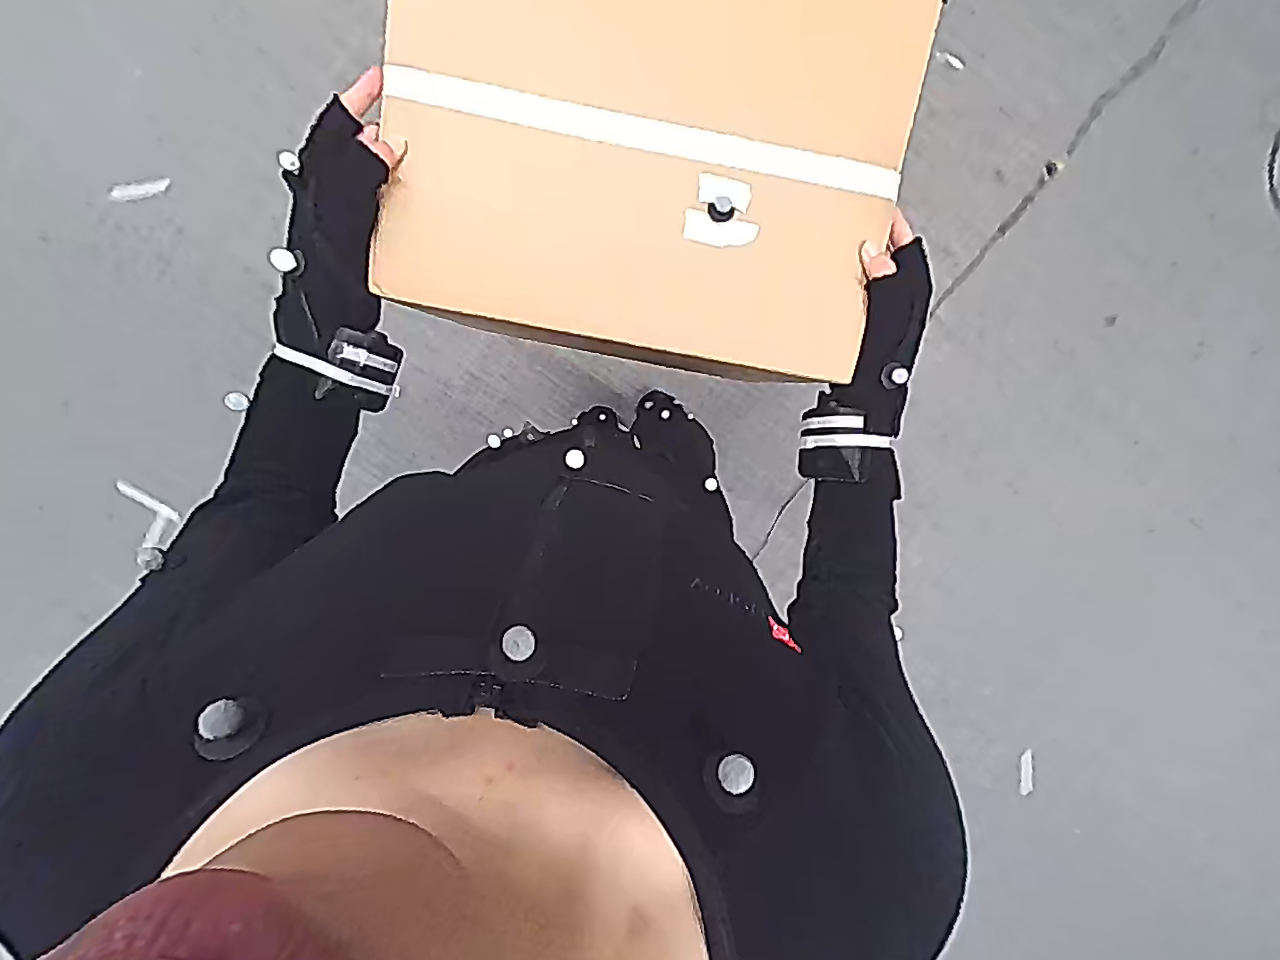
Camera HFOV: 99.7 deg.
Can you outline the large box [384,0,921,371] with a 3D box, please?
[{"bbox_3d":[-0.001,-0.304,0.578,0.408,0.320,0.320,9,100,-4],"label":"large box"}]
